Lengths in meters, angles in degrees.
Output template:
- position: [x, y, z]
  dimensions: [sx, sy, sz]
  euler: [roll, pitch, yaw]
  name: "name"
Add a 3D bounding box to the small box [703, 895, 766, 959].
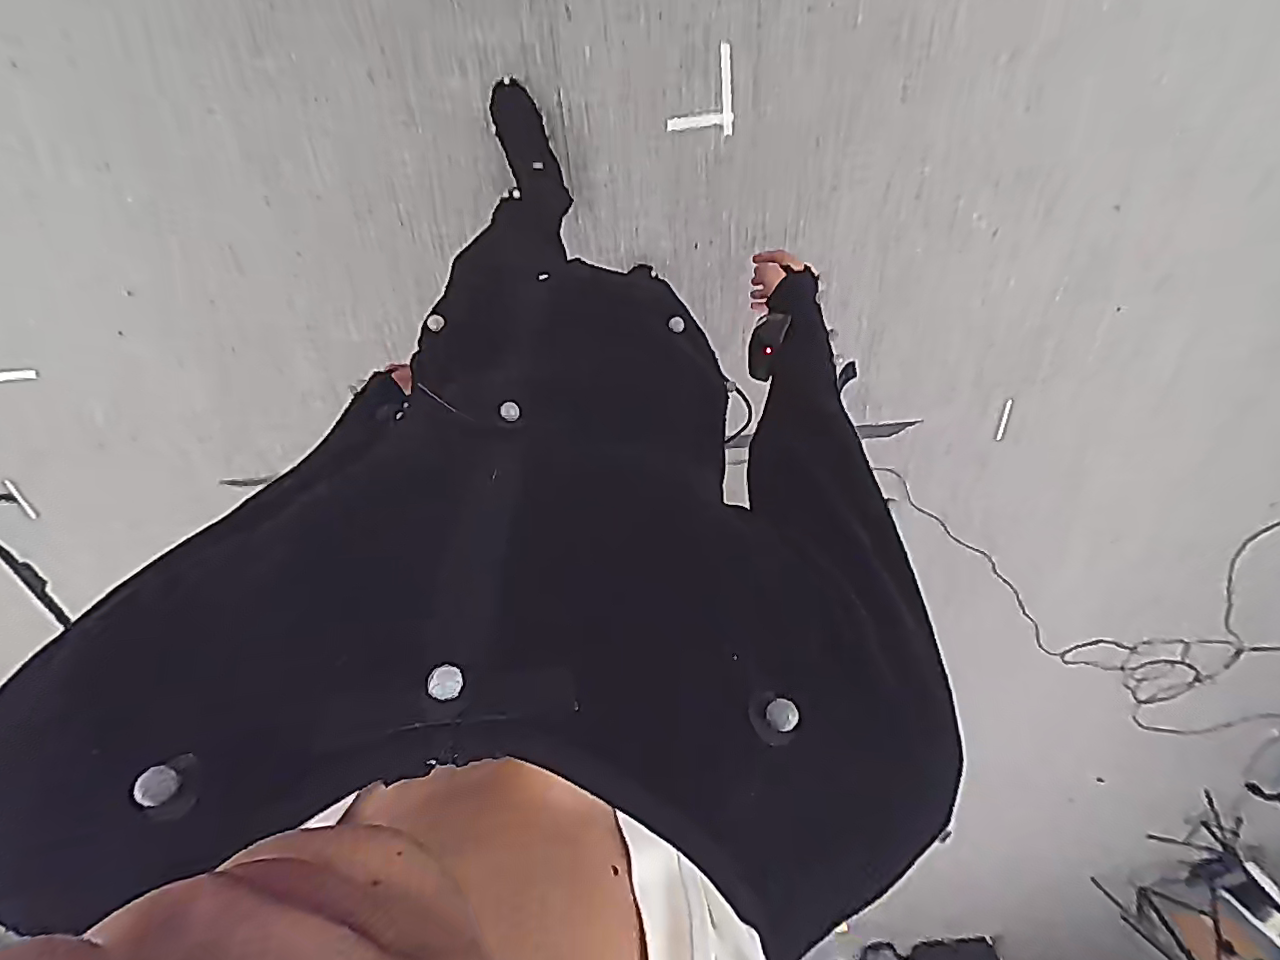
- position: [0.291, 1.438, 1.693]
  dimensions: [0.168, 0.176, 0.179]
  euler: [-4, 119, -1]
  name: "small box"
